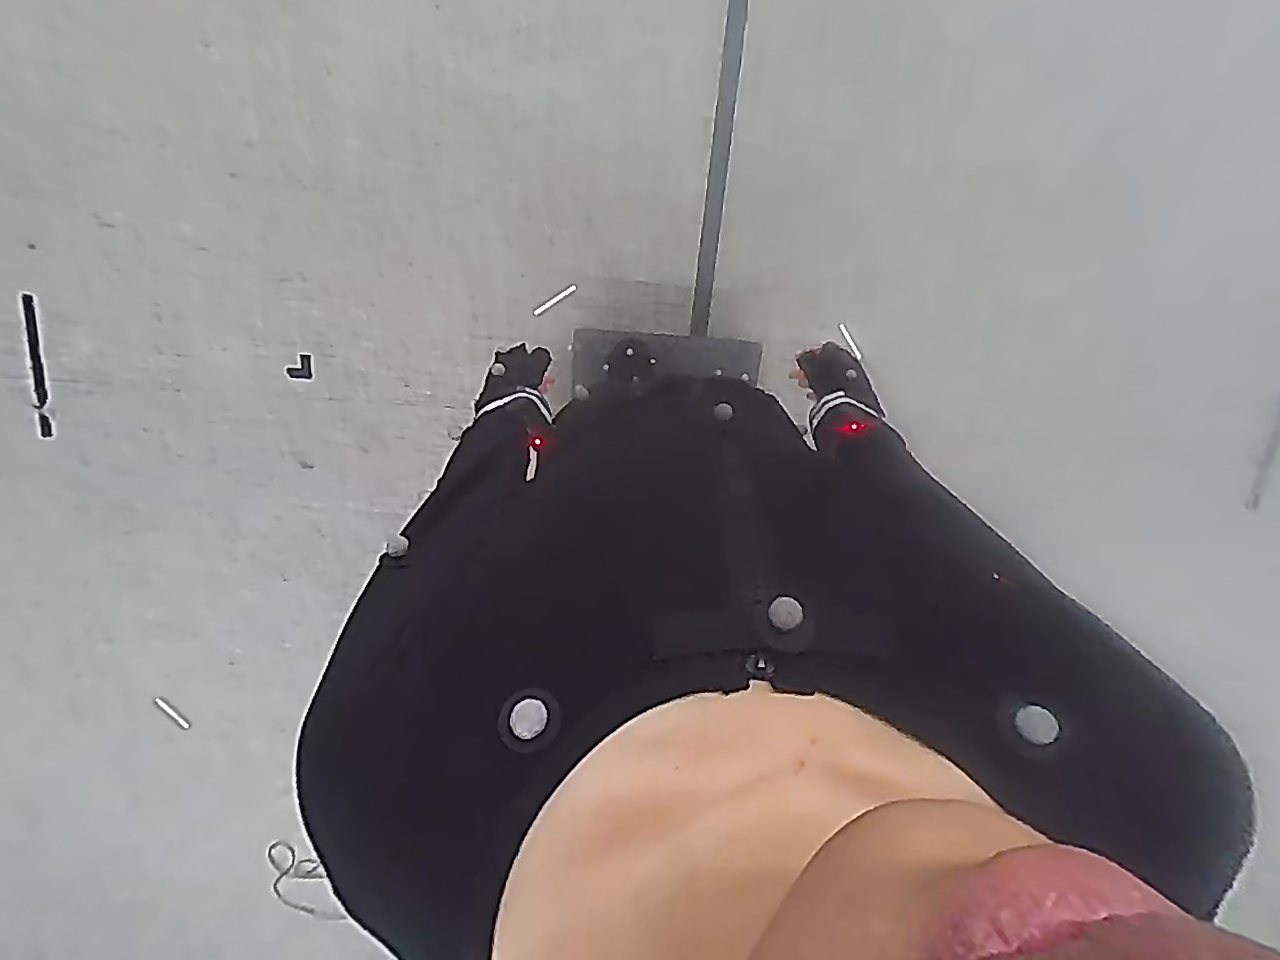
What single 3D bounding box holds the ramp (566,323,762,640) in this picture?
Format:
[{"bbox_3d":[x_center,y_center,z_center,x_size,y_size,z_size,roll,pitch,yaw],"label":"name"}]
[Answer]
[{"bbox_3d":[0.037,0.067,1.582,0.509,0.206,0.991,2,104,-3],"label":"ramp"}]
